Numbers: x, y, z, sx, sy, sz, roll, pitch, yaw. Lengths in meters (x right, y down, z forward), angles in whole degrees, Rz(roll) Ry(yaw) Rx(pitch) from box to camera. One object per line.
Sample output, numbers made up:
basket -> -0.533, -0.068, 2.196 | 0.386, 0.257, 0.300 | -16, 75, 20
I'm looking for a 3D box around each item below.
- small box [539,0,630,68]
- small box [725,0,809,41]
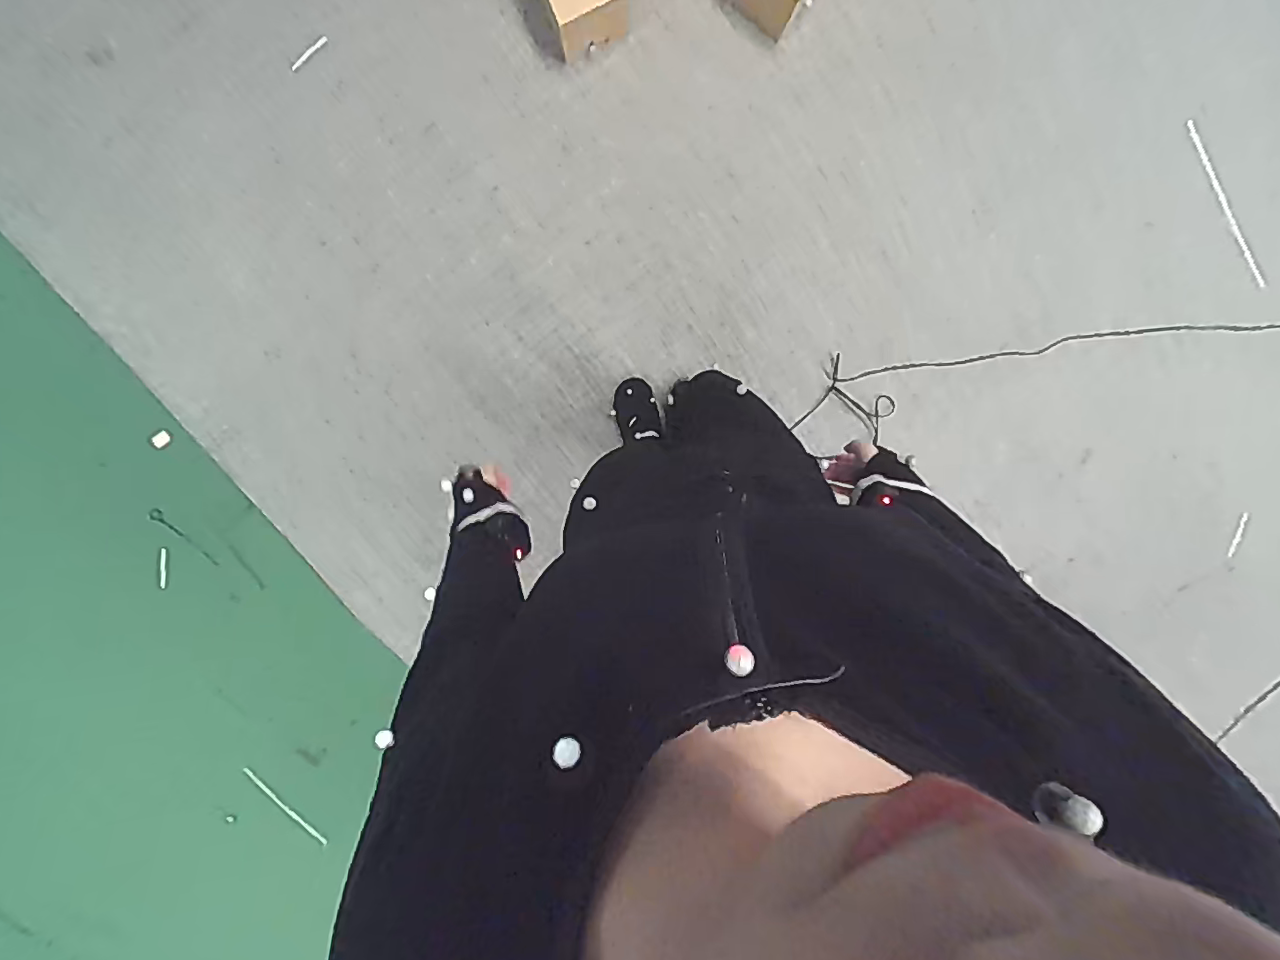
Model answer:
small box -> -0.129, -1.058, 1.175 | 0.168, 0.176, 0.179 | -23, 102, 4
small box -> 0.300, -1.115, 1.171 | 0.179, 0.176, 0.168 | 34, 100, -9
